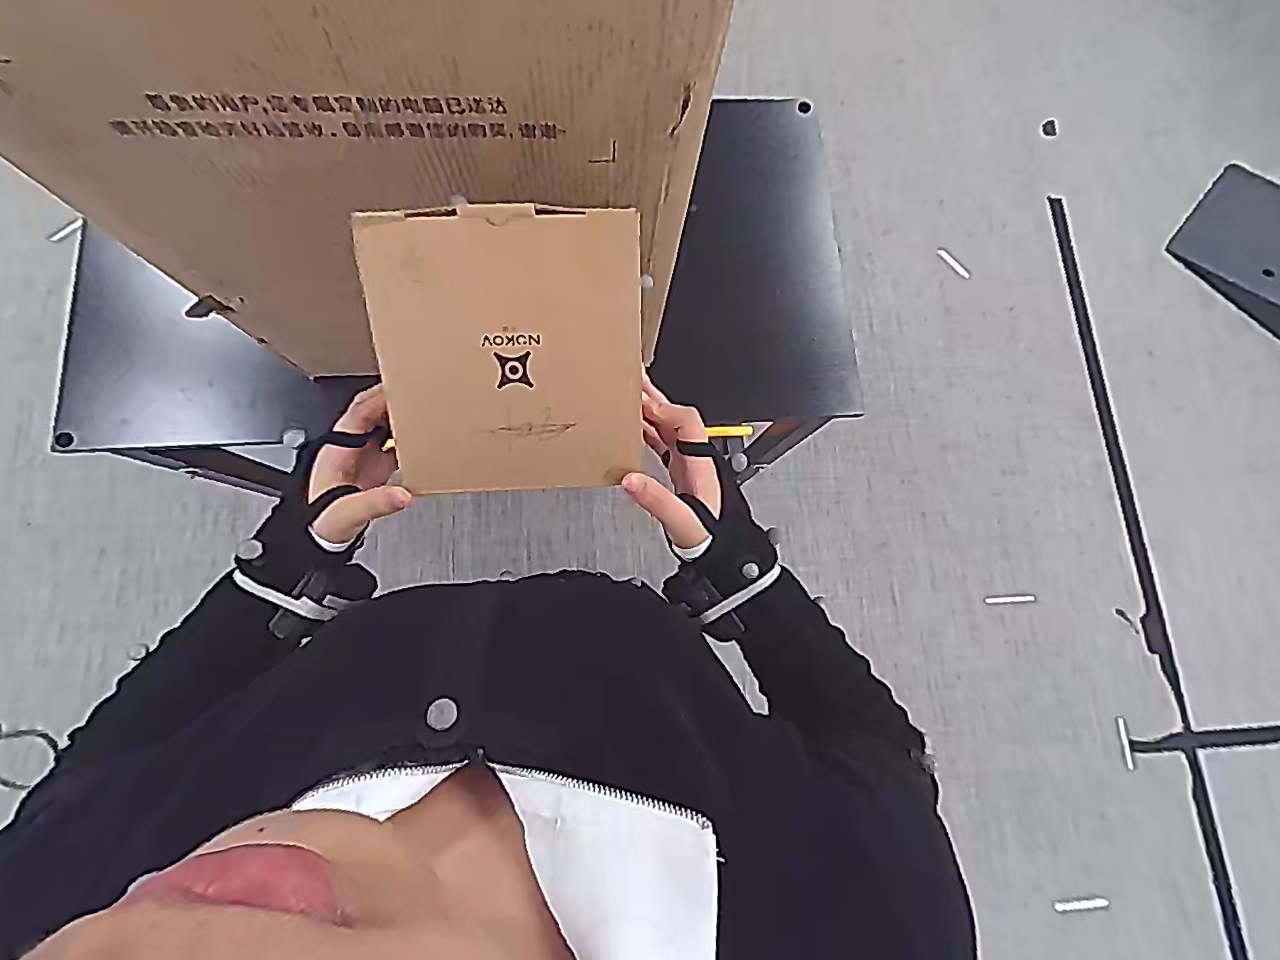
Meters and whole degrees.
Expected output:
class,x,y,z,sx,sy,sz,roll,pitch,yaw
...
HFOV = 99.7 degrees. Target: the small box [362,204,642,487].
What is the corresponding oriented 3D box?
class,x,y,z,sx,sy,sz,roll,pitch,yaw
small box,-0.088,-0.106,0.422,0.168,0.176,0.179,-3,110,-4
